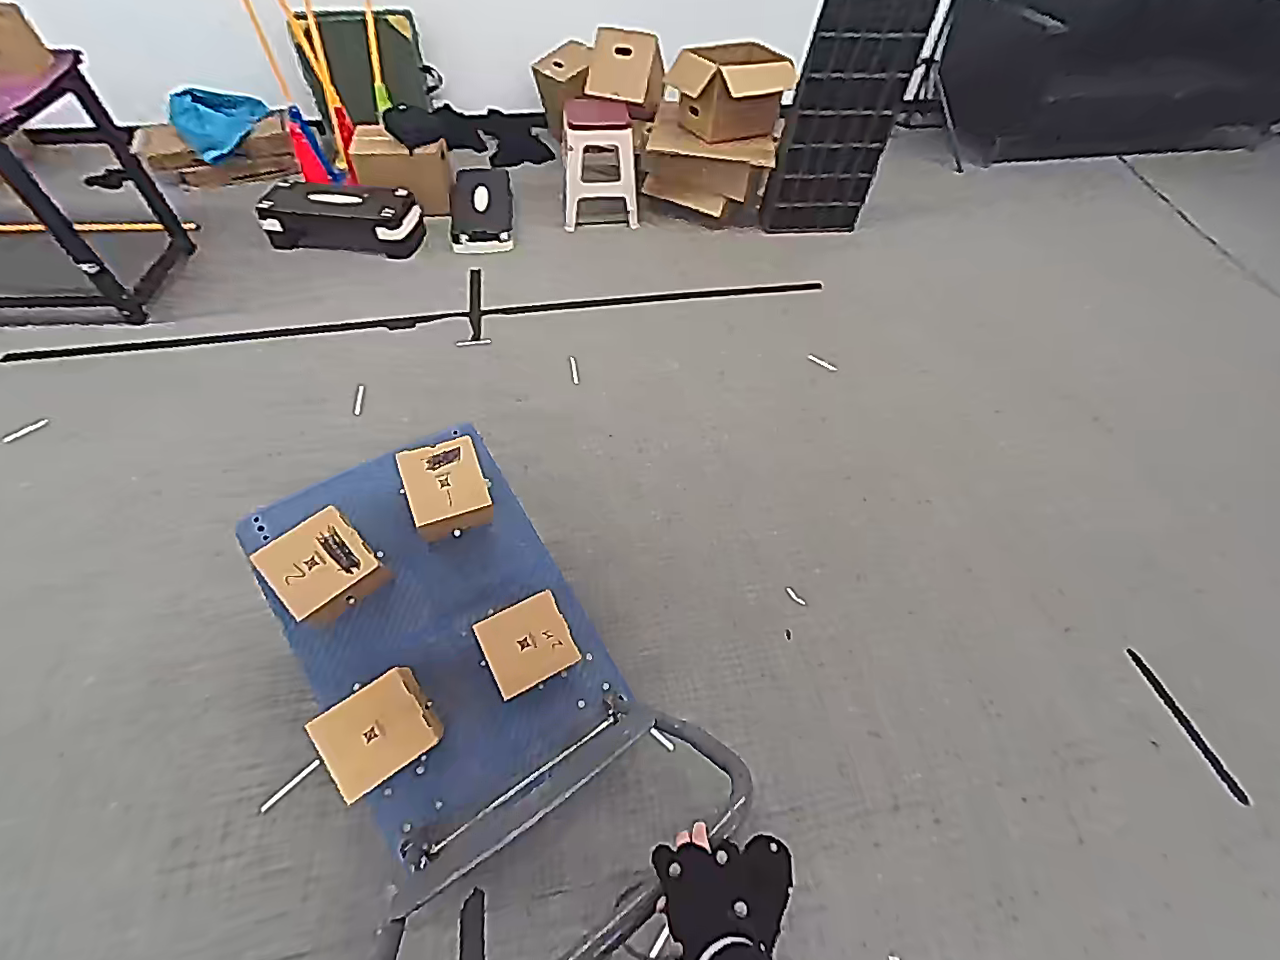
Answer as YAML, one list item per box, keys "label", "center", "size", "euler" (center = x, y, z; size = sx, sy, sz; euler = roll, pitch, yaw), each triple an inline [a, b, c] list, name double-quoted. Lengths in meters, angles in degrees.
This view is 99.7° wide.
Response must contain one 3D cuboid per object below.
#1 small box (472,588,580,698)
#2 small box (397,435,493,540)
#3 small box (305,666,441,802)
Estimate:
- label: "small box"
  center: [-0.253, 0.359, 1.190]
  size: [0.179, 0.176, 0.168]
  euler: [-23, 79, -21]
- label: "small box"
  center: [-0.450, 0.022, 1.257]
  size: [0.168, 0.176, 0.179]
  euler: [-17, 77, -20]
- label: "small box"
  center: [-0.516, 0.493, 1.072]
  size: [0.179, 0.176, 0.168]
  euler: [-32, 82, -24]
